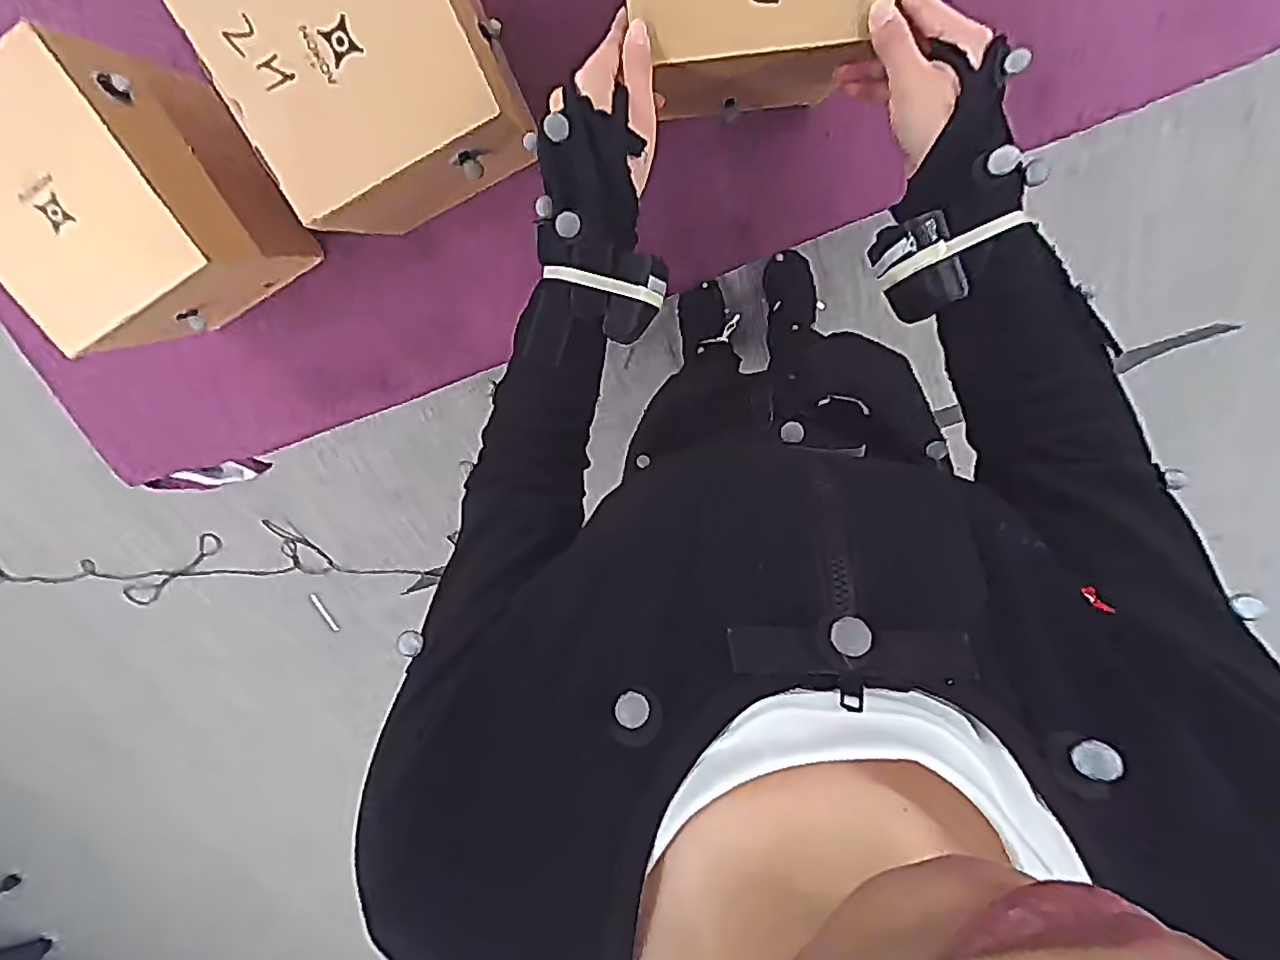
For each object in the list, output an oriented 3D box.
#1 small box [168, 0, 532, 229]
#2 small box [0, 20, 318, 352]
[{"bbox_3d":[-0.203,-0.323,0.435,0.179,0.176,0.168,-23,109,11],"label":"small box"},{"bbox_3d":[-0.441,-0.240,0.482,0.168,0.176,0.179,-25,109,12],"label":"small box"}]
